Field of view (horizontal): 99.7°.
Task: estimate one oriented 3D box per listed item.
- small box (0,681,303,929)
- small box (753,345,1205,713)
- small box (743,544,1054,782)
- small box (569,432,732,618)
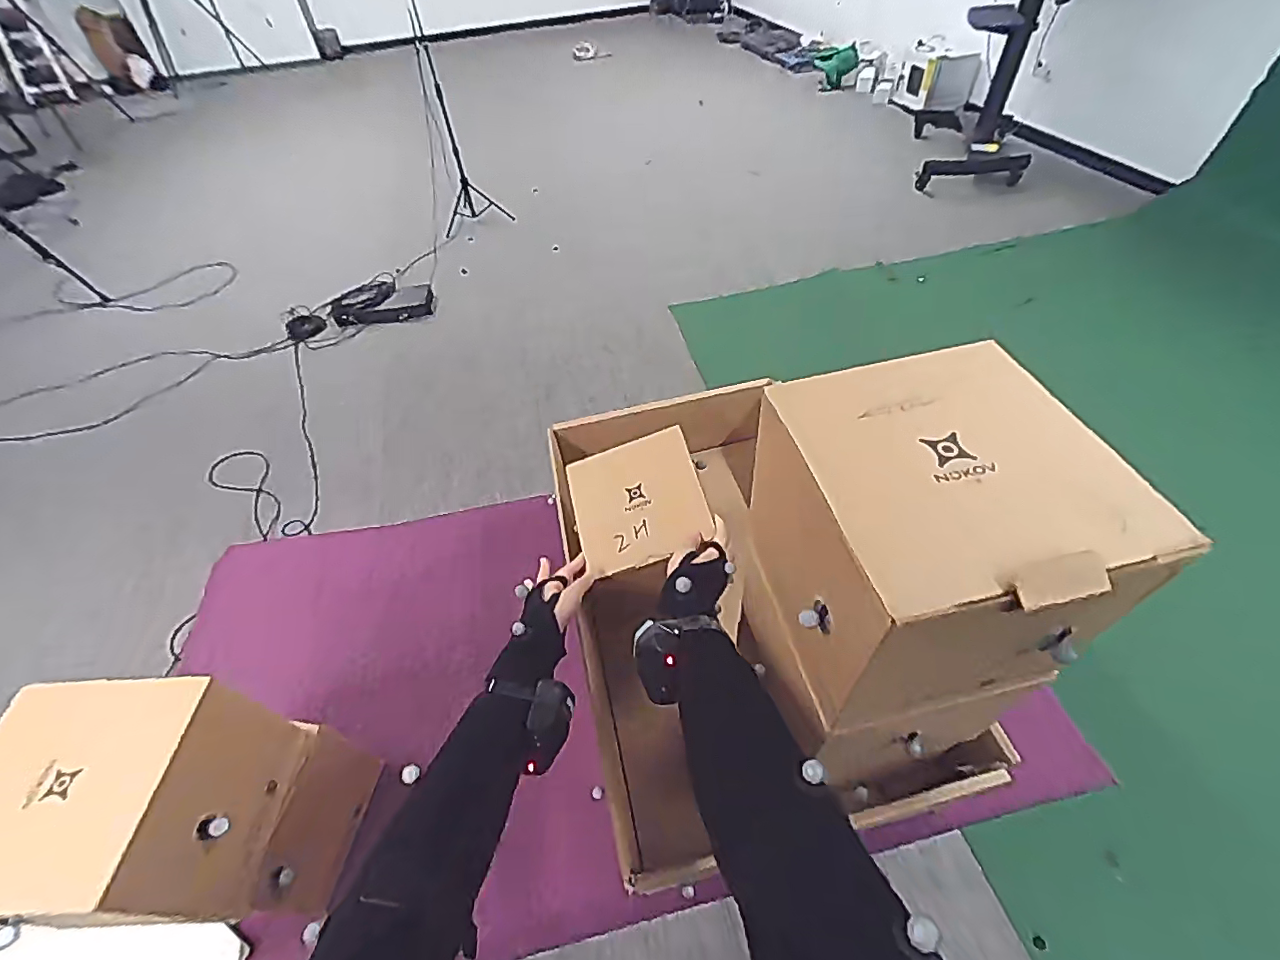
[{"bbox_3d":[-0.451,0.293,0.485,0.179,0.176,0.168,-4,49,3],"label":"small box"},{"bbox_3d":[0.184,0.040,0.368,0.168,0.176,0.179,-12,49,-4],"label":"small box"},{"bbox_3d":[0.202,0.150,0.487,0.179,0.176,0.168,-13,49,-3],"label":"small box"},{"bbox_3d":[0.018,0.068,0.749,0.168,0.176,0.179,-20,58,6],"label":"small box"}]
